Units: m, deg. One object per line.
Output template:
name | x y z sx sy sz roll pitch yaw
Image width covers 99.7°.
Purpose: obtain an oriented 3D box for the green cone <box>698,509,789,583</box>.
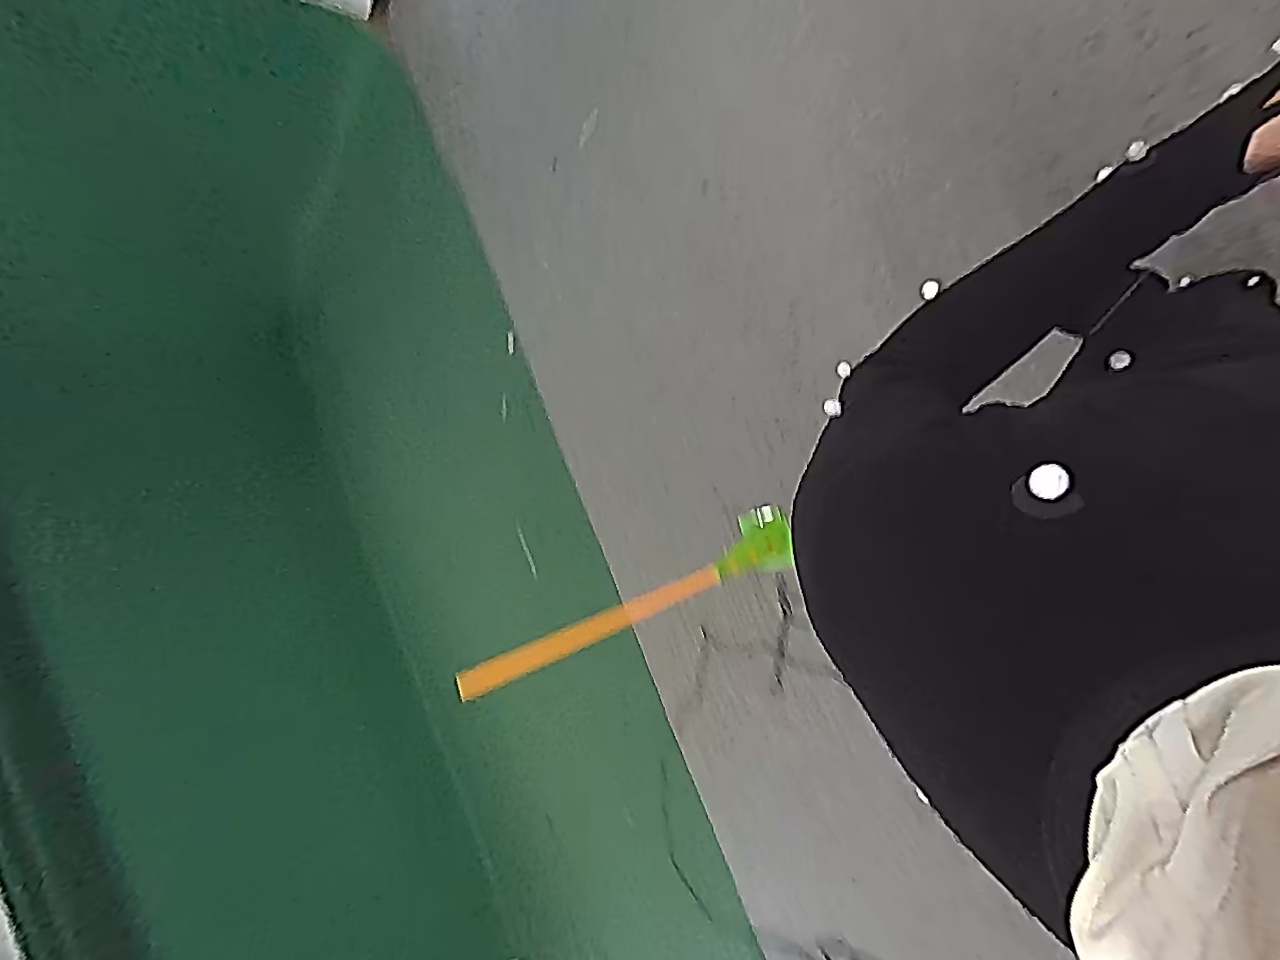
green cone | 0.312 0.259 1.836 0.200 0.368 0.202 -21 91 46
